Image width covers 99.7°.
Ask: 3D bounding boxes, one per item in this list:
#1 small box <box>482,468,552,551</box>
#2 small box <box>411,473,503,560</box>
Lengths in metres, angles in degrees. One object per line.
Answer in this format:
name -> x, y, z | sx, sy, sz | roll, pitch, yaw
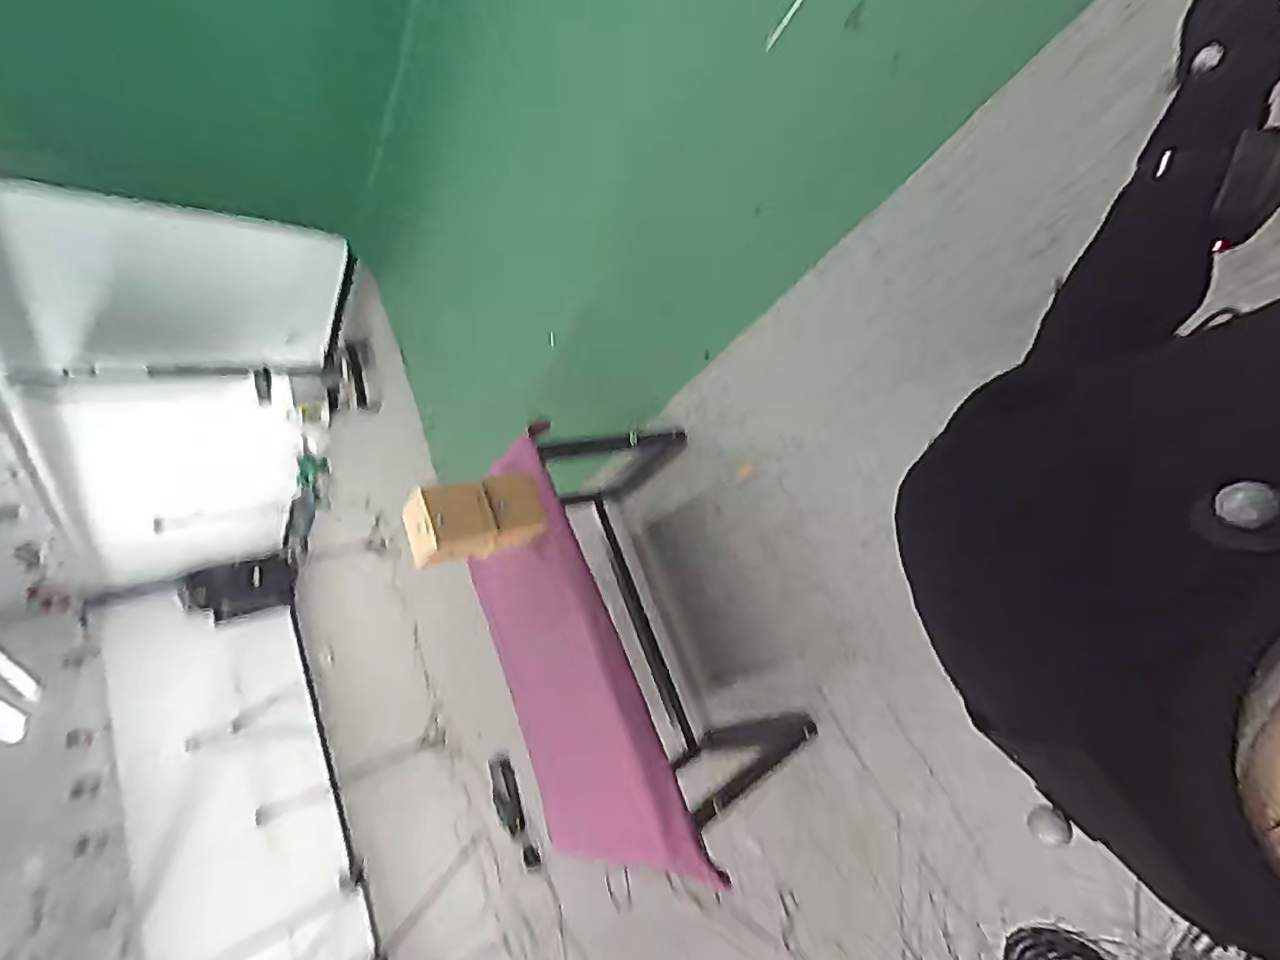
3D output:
small box -> -0.380, 0.081, 1.571 | 0.168, 0.176, 0.179 | -40, 68, 44
small box -> -0.490, 0.097, 1.449 | 0.179, 0.176, 0.168 | -37, 71, 46
